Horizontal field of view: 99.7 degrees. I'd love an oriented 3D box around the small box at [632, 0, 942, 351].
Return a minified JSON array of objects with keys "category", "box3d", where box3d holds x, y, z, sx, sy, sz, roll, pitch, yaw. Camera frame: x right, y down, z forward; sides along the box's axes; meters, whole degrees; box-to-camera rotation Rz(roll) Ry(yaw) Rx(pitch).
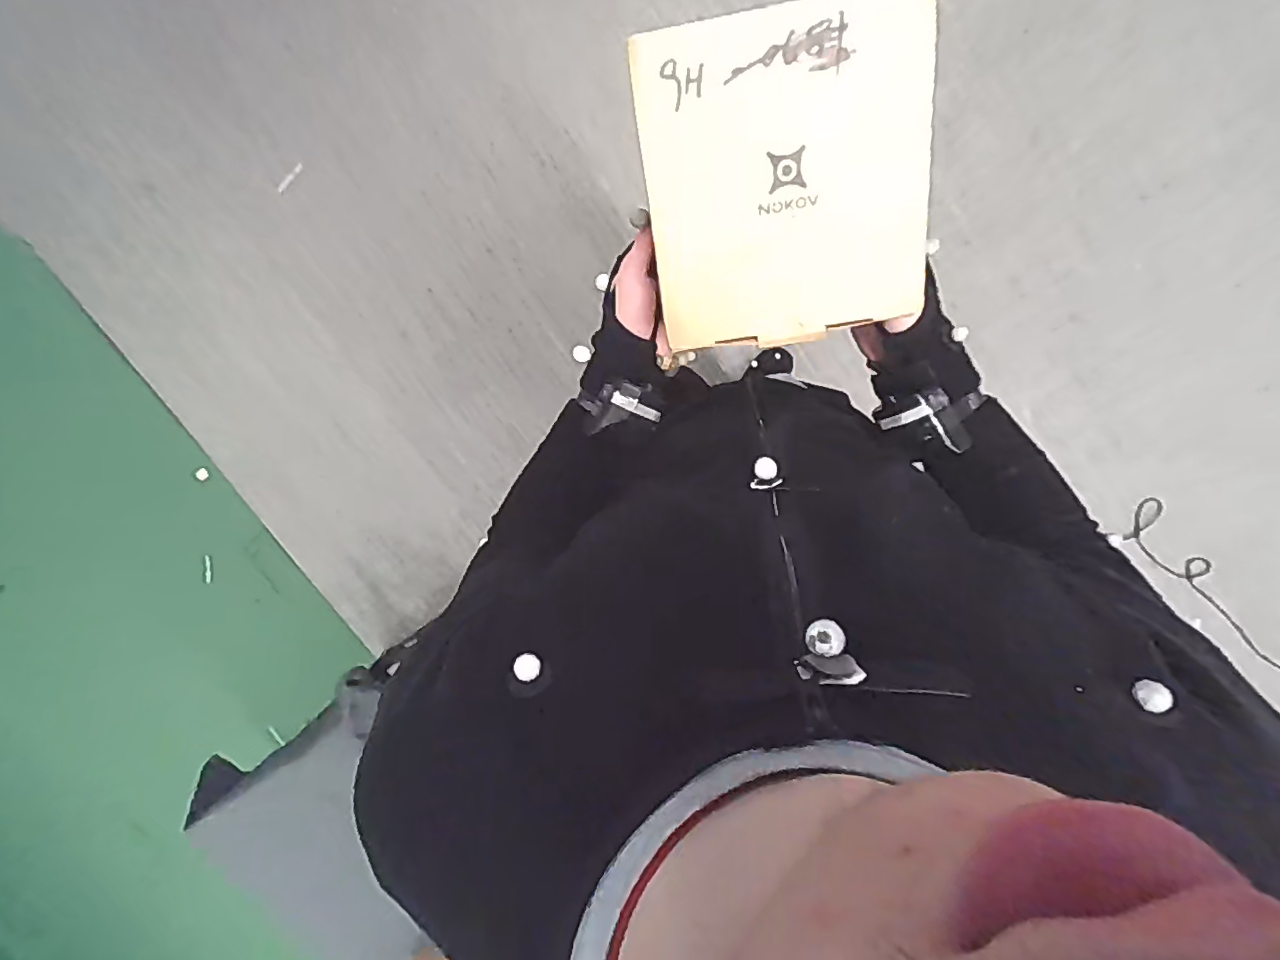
[{"category":"small box","box3d":[0.091,-0.209,0.395,0.168,0.176,0.179,-8,115,5]}]
